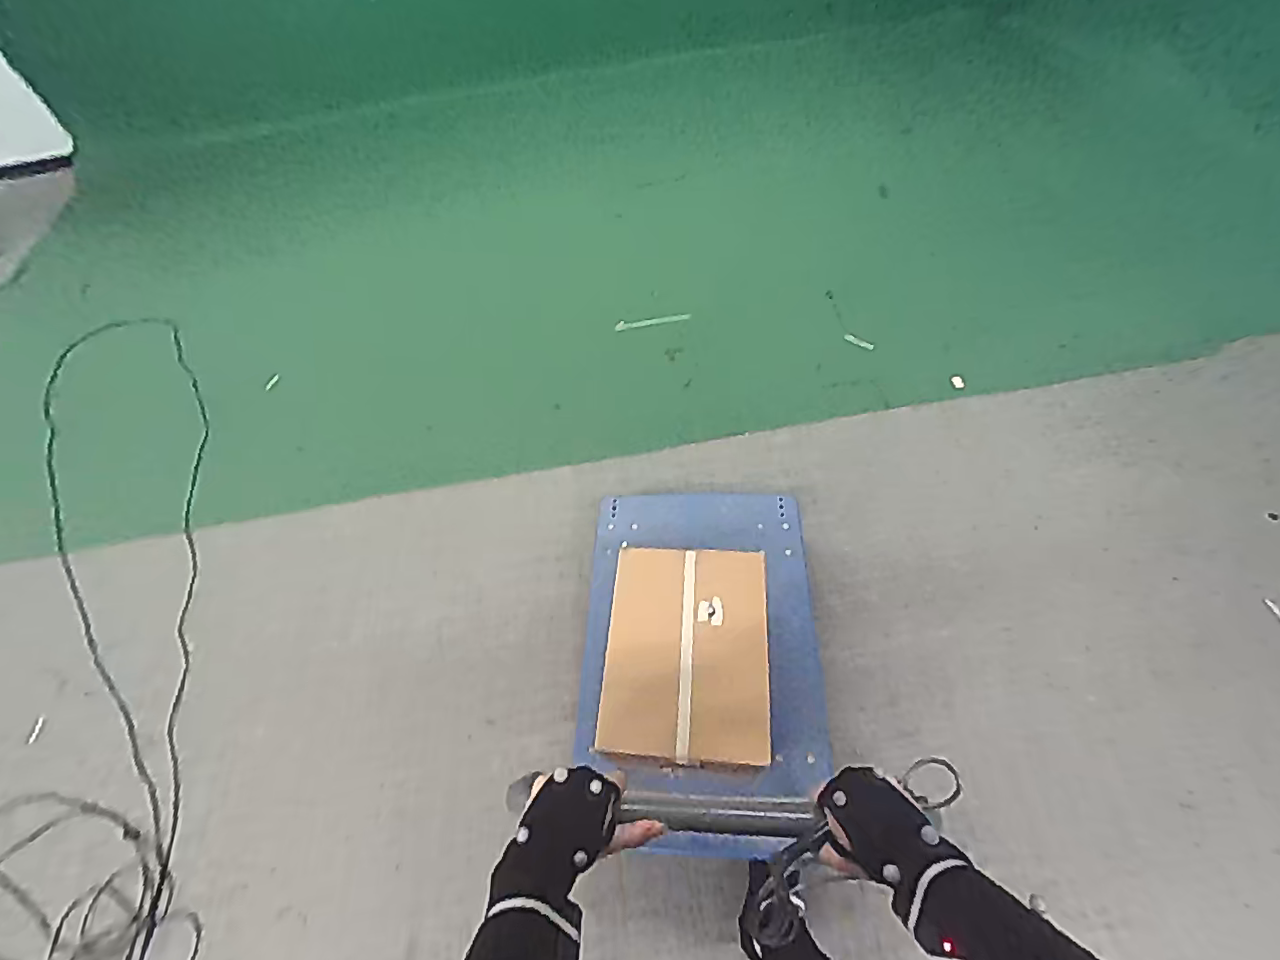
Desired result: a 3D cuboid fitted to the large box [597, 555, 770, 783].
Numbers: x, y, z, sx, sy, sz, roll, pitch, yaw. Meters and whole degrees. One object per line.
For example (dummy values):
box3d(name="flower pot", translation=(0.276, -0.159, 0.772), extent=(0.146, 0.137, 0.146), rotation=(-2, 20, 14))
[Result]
box3d(name="large box", translation=(0.102, 0.415, 1.183), extent=(0.320, 0.320, 0.408), rotation=(2, 56, 7))
